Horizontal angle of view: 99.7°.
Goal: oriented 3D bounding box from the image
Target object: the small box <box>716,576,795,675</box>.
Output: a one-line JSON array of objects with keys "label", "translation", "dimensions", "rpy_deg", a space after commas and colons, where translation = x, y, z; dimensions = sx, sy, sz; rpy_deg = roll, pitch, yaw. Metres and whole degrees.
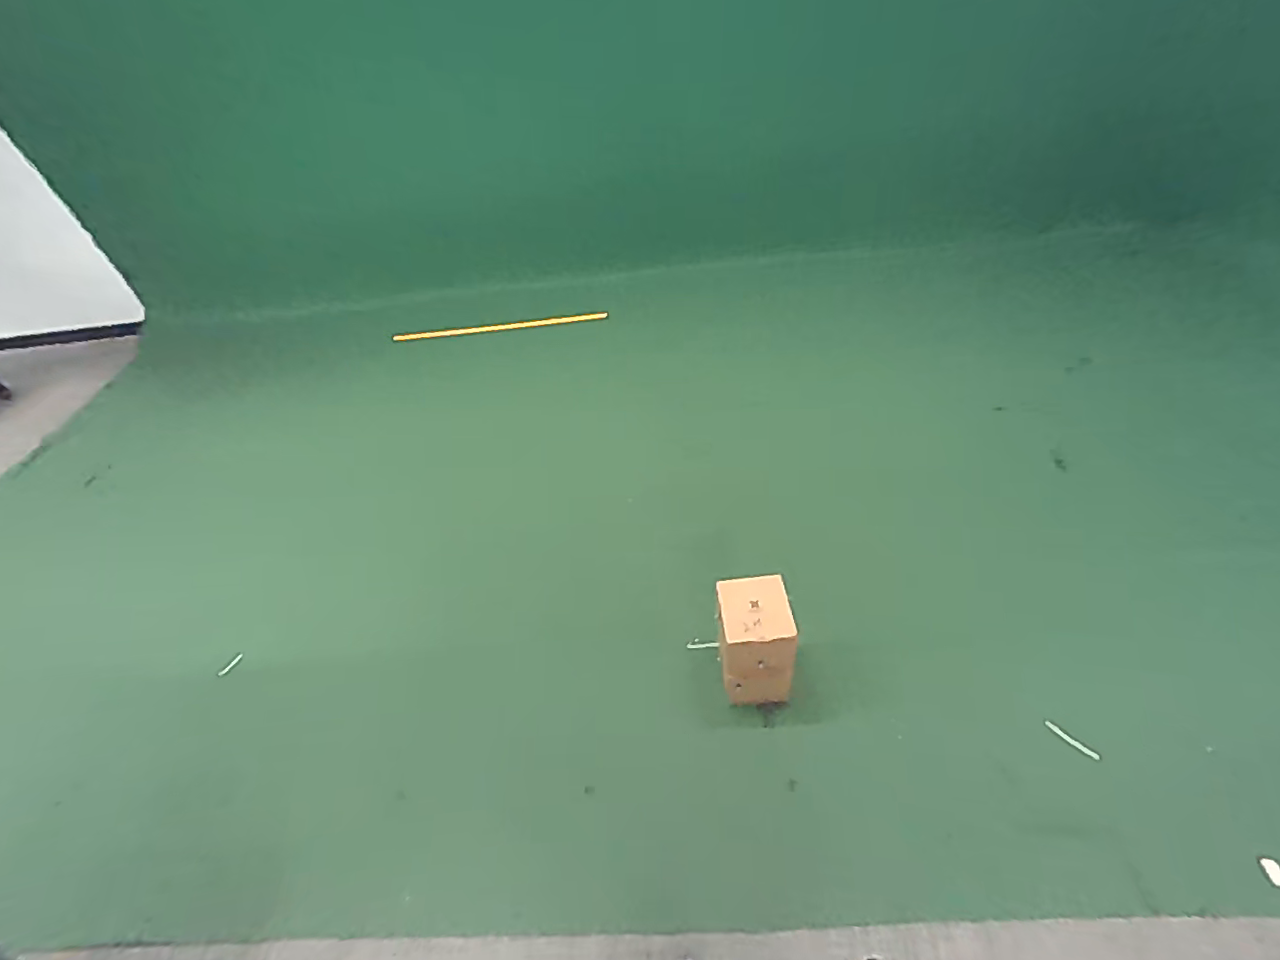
[{"label": "small box", "translation": [0.283, 0.366, 1.364], "dimensions": [0.168, 0.176, 0.179], "rpy_deg": [-7, 45, 3]}]
